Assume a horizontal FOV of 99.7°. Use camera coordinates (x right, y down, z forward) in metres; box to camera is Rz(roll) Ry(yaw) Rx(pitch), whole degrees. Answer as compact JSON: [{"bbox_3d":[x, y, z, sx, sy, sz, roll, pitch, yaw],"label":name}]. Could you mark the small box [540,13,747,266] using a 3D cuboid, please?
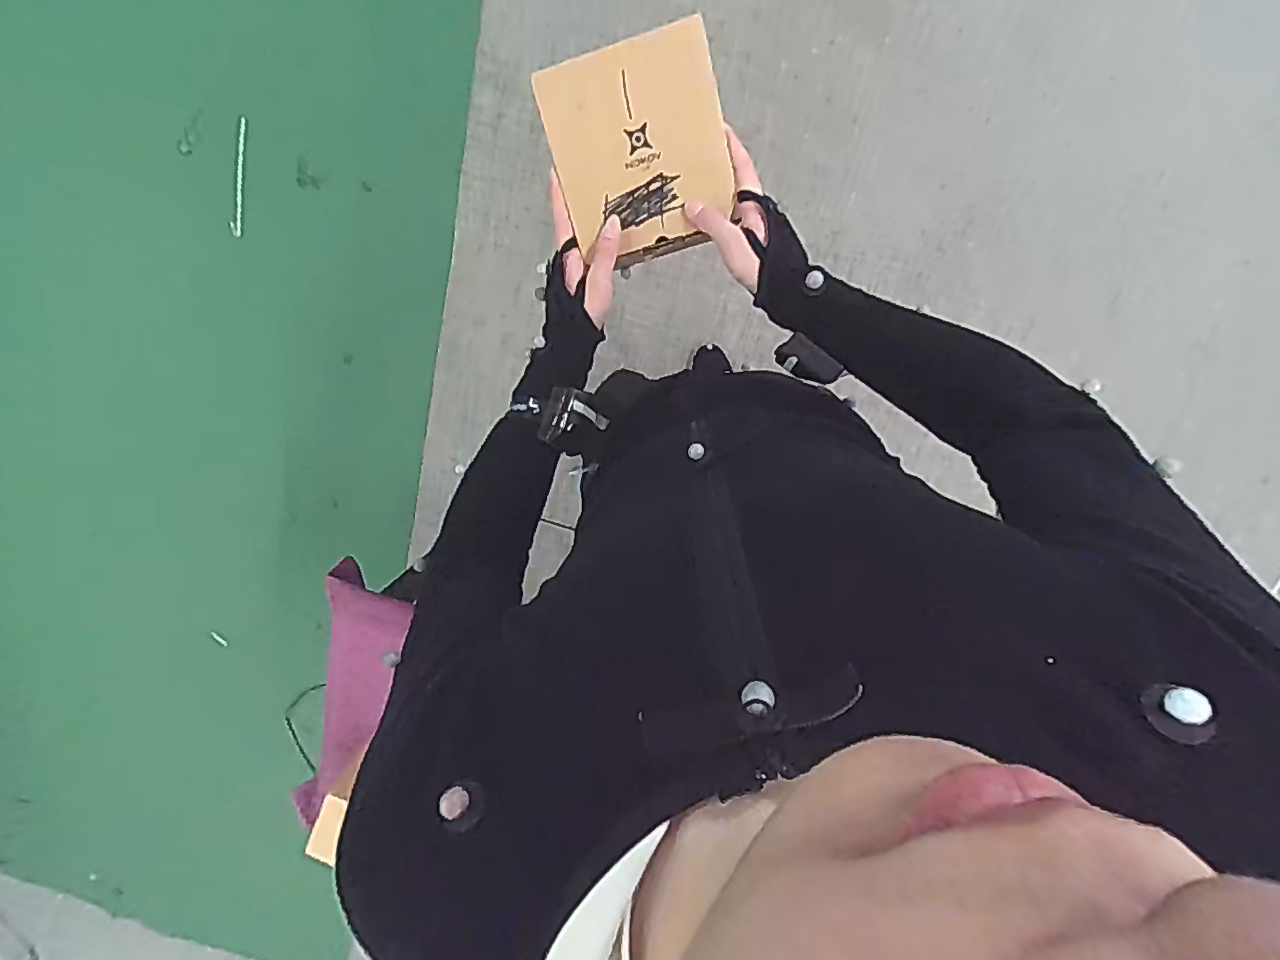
[{"bbox_3d":[0.011,-0.341,0.586,0.168,0.176,0.179,-13,107,7],"label":"small box"}]
